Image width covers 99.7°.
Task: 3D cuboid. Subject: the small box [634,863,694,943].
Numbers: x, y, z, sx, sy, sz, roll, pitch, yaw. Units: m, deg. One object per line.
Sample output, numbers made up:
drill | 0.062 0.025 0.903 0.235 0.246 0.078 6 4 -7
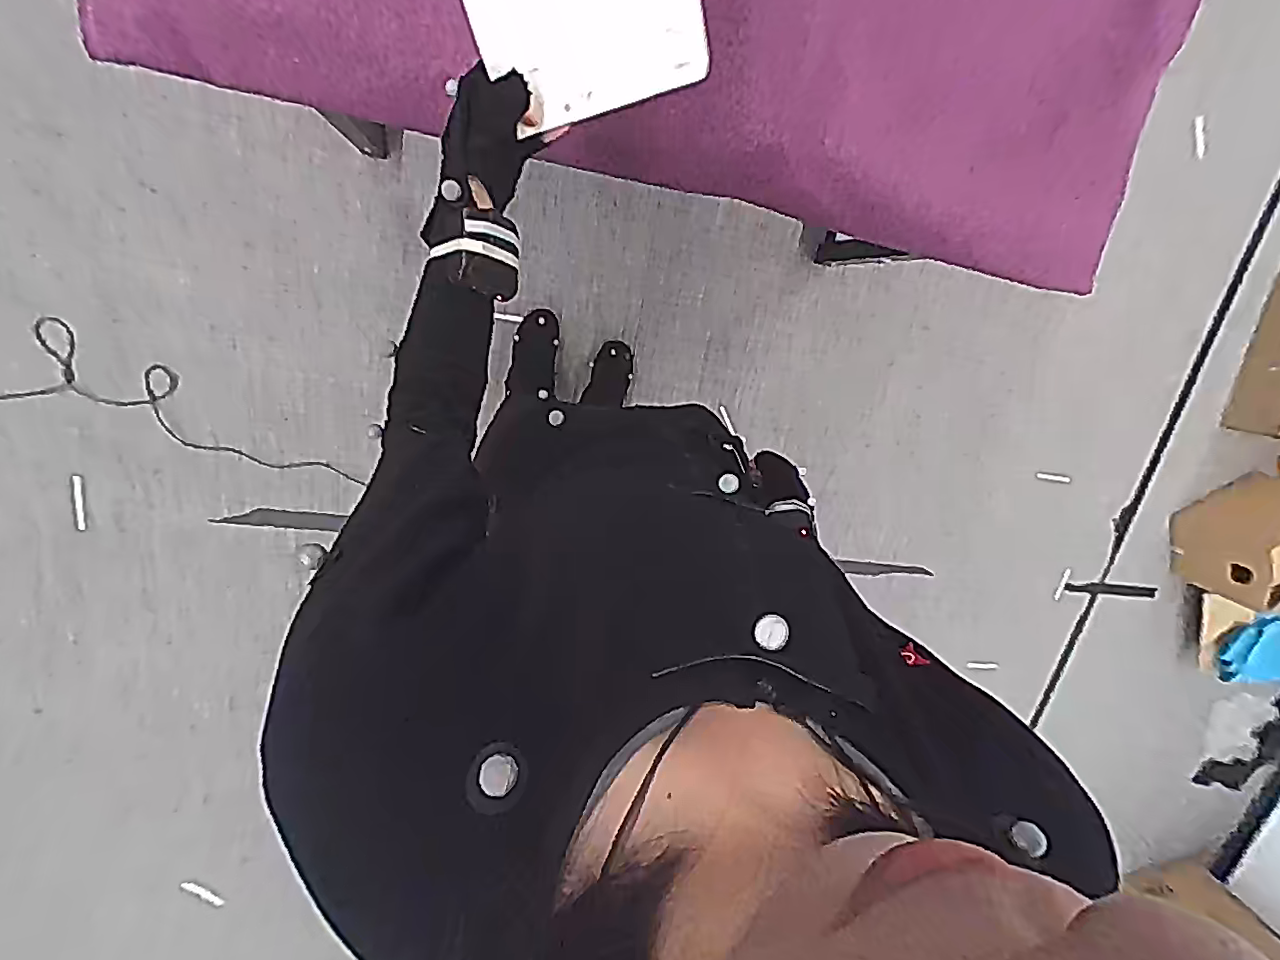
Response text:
small box | 0.084 1.591 2.041 0.179 0.176 0.168 5 107 -15

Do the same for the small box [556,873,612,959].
small box | -0.205 1.589 1.971 0.168 0.176 0.179 -12 110 -10
